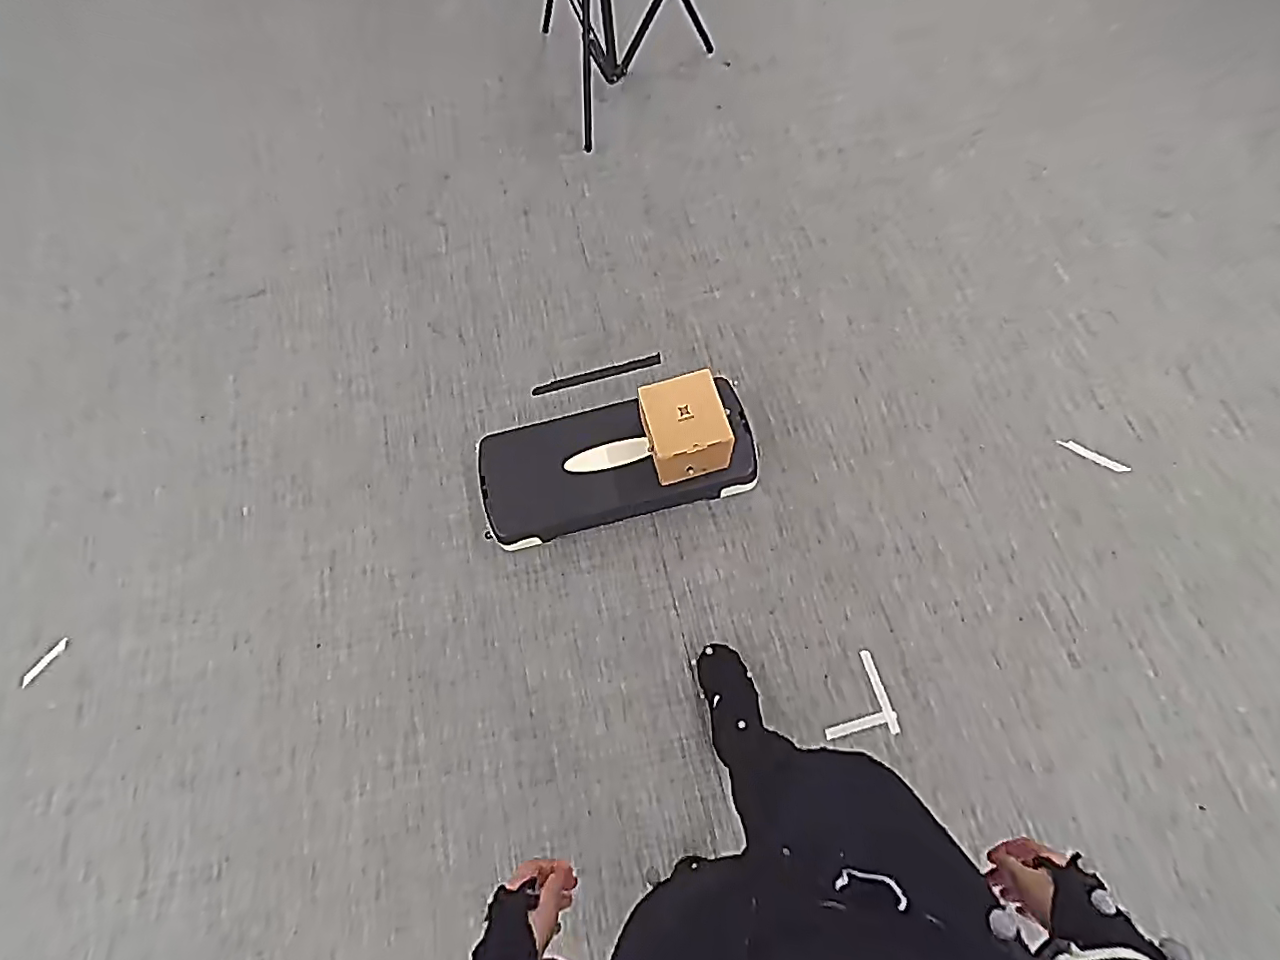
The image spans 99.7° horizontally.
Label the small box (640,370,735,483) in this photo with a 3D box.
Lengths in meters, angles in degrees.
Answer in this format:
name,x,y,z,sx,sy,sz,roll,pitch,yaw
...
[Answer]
name,x,y,z,sx,sy,sz,roll,pitch,yaw
small box,0.102,-0.114,1.214,0.168,0.176,0.179,-16,72,-2
